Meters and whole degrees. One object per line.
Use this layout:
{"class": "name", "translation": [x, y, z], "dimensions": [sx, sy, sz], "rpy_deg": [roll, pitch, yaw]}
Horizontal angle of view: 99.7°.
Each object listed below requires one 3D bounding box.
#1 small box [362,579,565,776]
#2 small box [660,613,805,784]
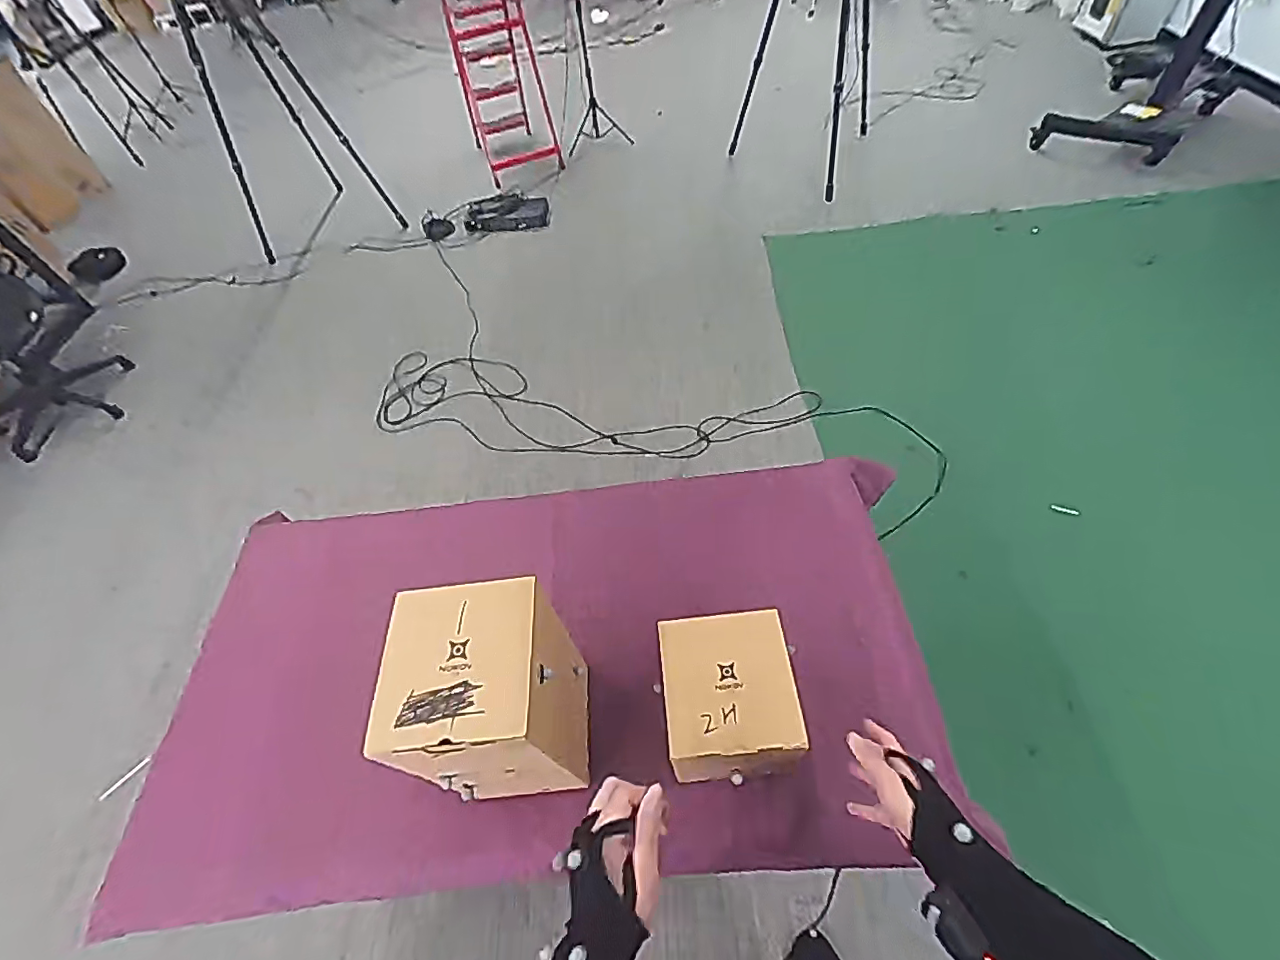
{"class": "small box", "translation": [-0.187, 0.238, 0.635], "dimensions": [0.168, 0.176, 0.179], "rpy_deg": [-6, 52, 2]}
{"class": "small box", "translation": [0.118, 0.305, 0.750], "dimensions": [0.168, 0.176, 0.179], "rpy_deg": [-7, 53, 3]}
